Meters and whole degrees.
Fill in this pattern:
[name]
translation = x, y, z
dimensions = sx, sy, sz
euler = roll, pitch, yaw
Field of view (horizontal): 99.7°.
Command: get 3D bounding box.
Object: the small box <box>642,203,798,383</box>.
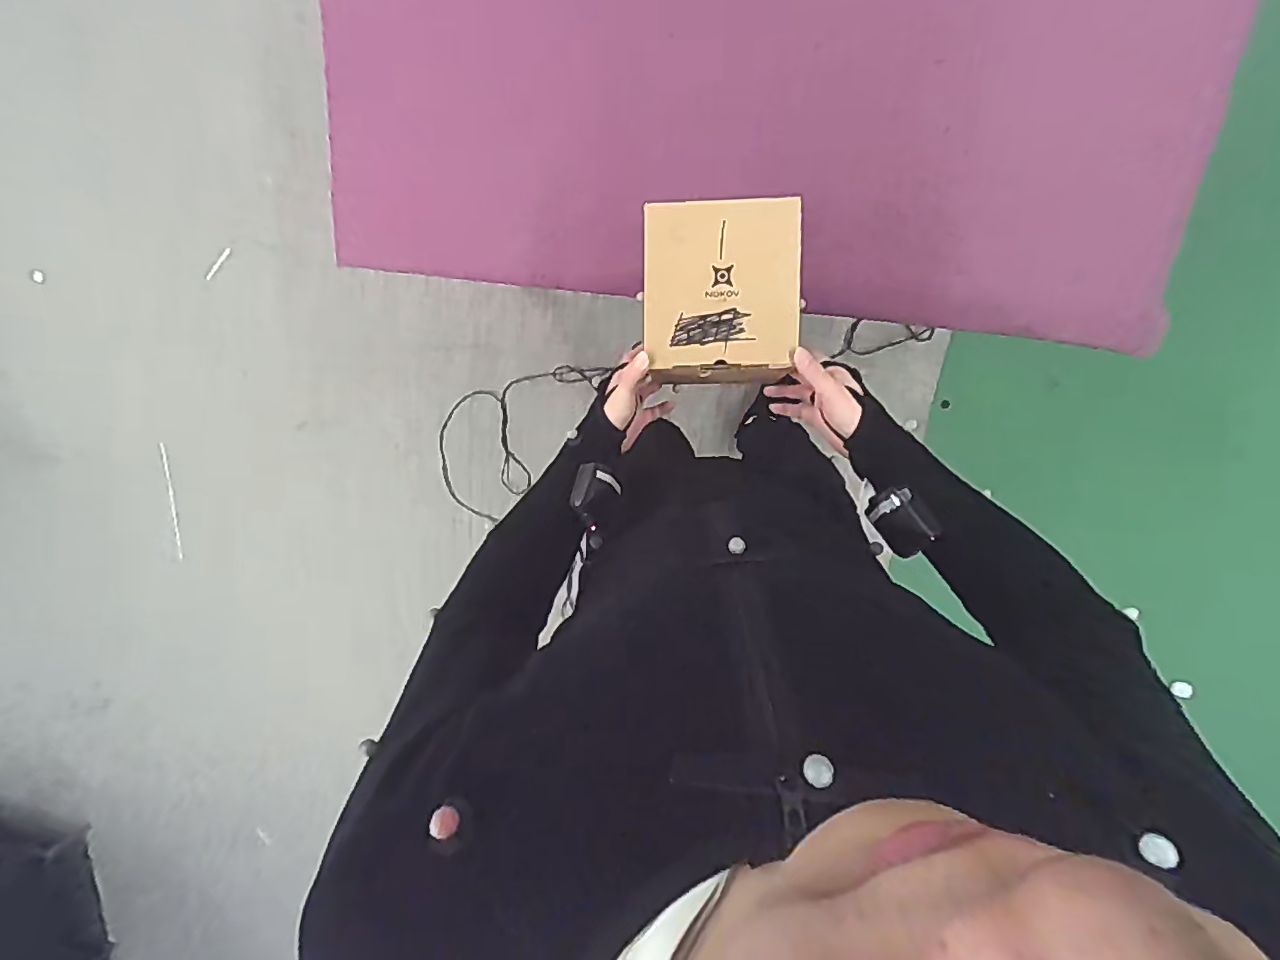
[small box]
translation = 0.092, -0.210, 0.656
dimensions = 0.168, 0.176, 0.179
euler = 0, 94, 4
